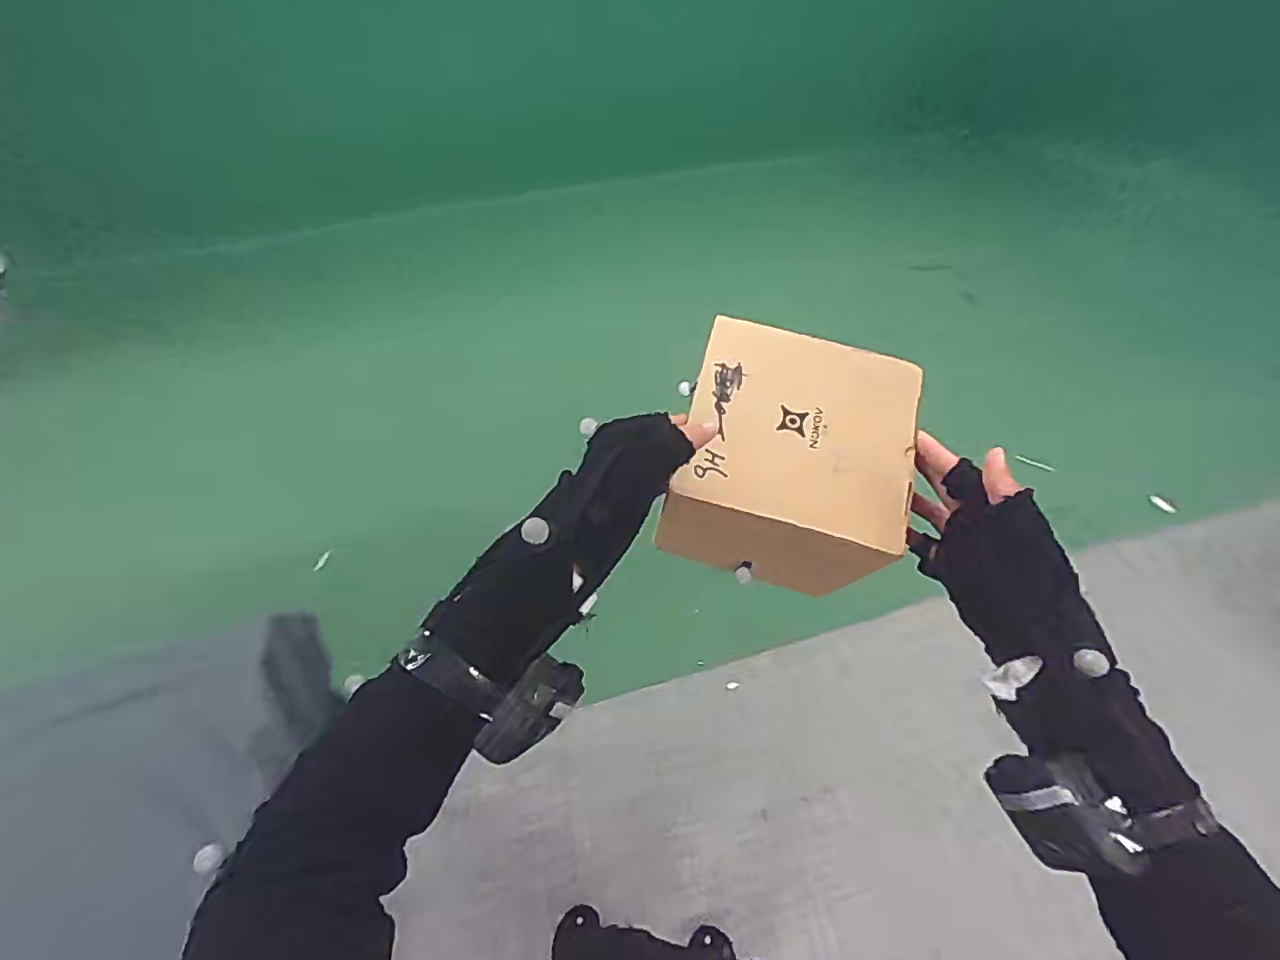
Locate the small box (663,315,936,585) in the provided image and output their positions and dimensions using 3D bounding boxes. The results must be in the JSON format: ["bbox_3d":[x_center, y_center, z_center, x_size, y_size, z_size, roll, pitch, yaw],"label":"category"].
[{"bbox_3d":[0.131,-0.013,0.492,0.179,0.176,0.168,17,68,3],"label":"small box"}]
